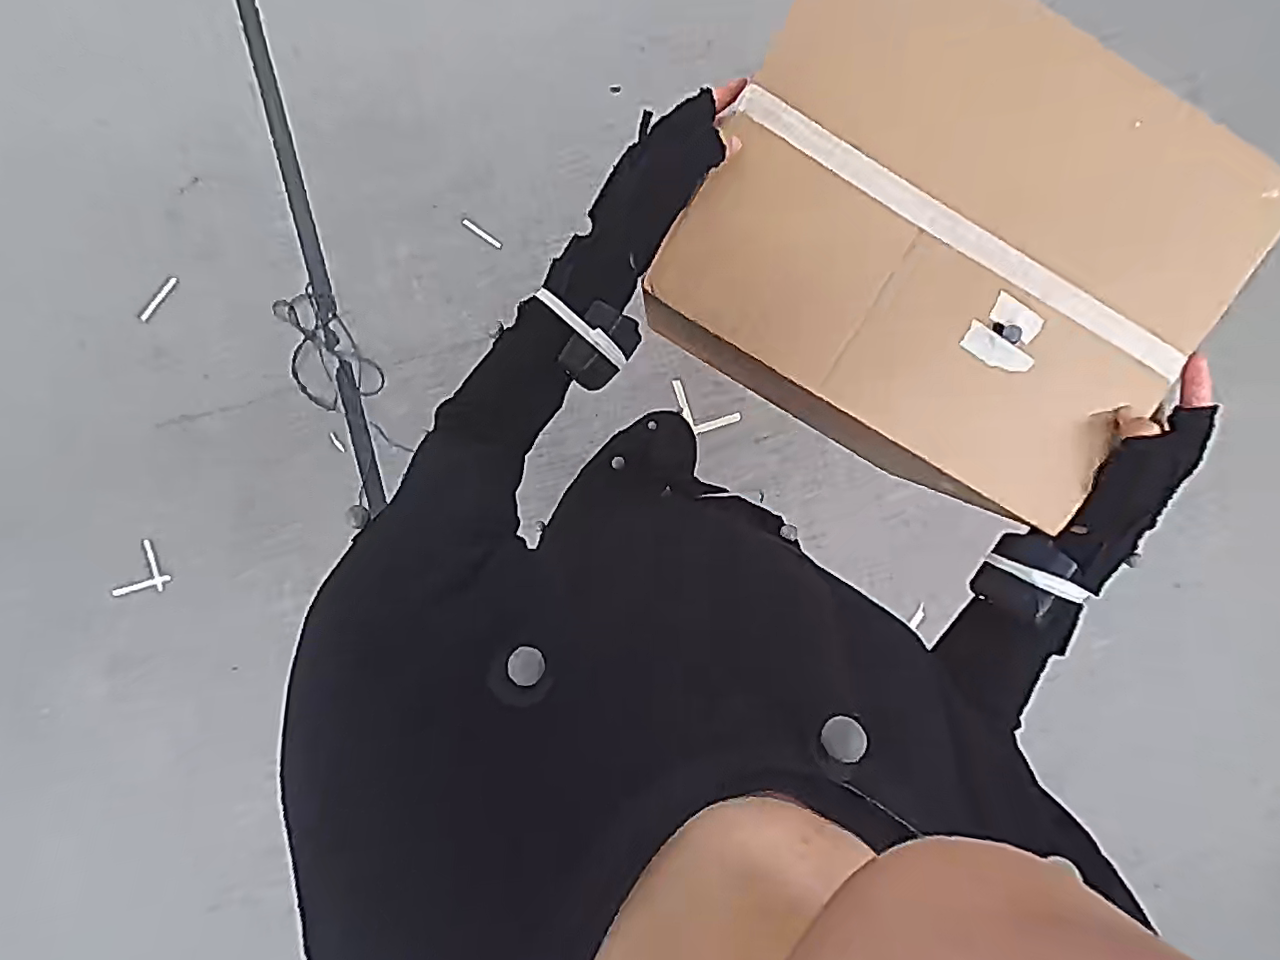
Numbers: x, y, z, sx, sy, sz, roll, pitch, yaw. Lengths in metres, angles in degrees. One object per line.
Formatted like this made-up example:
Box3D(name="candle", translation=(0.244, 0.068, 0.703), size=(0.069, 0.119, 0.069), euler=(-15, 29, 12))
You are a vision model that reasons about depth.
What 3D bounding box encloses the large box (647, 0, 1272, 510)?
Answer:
Box3D(name="large box", translation=(0.251, -0.223, 0.578), size=(0.408, 0.320, 0.320), euler=(30, 101, -5))
